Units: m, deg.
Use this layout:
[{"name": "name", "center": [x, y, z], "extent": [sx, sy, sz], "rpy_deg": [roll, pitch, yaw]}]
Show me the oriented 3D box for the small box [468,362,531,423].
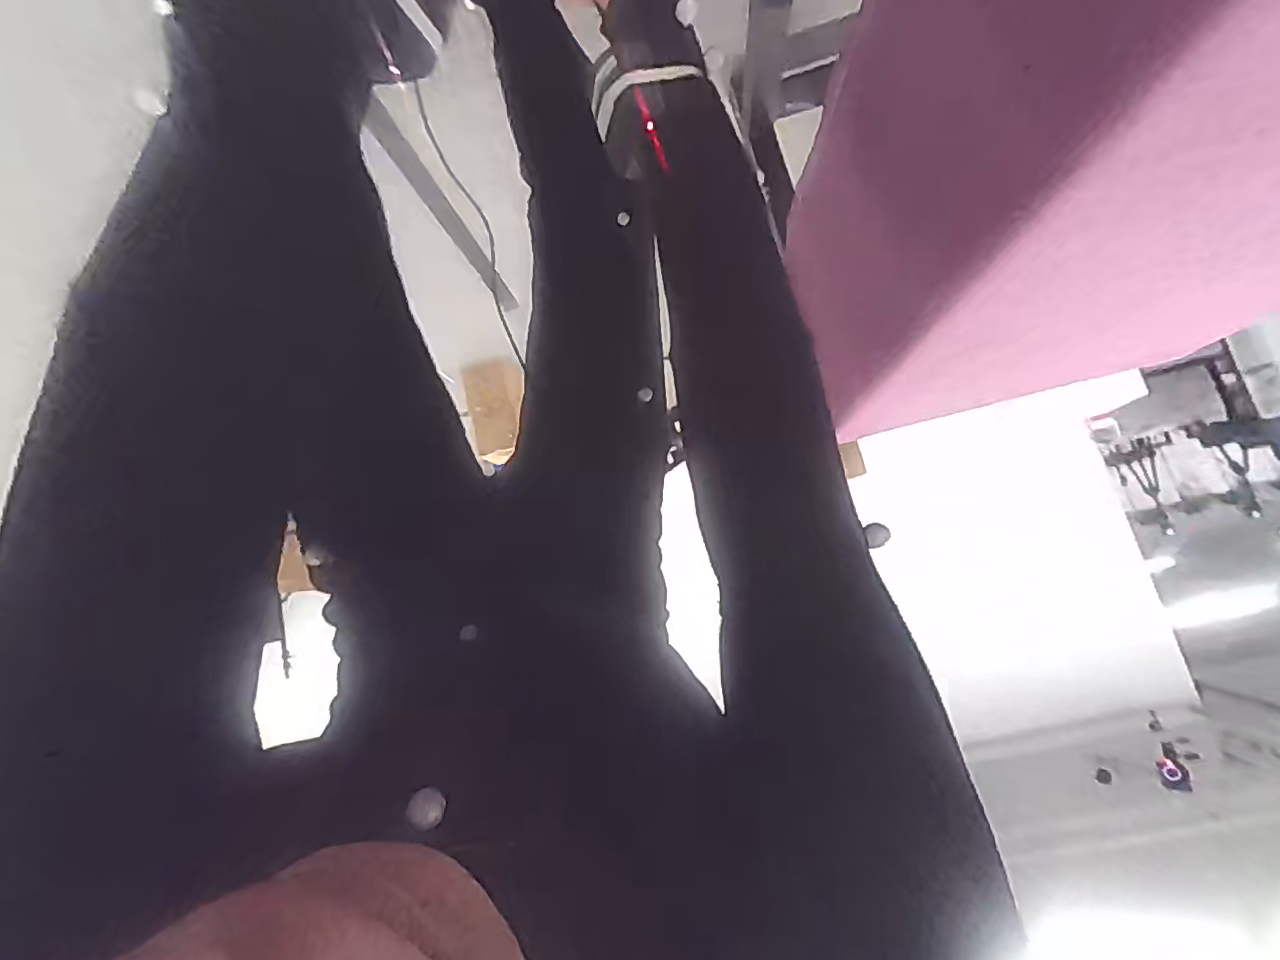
[{"name": "small box", "center": [-0.537, -0.334, 2.076], "extent": [0.168, 0.176, 0.179], "rpy_deg": [-14, 169, 8]}]
